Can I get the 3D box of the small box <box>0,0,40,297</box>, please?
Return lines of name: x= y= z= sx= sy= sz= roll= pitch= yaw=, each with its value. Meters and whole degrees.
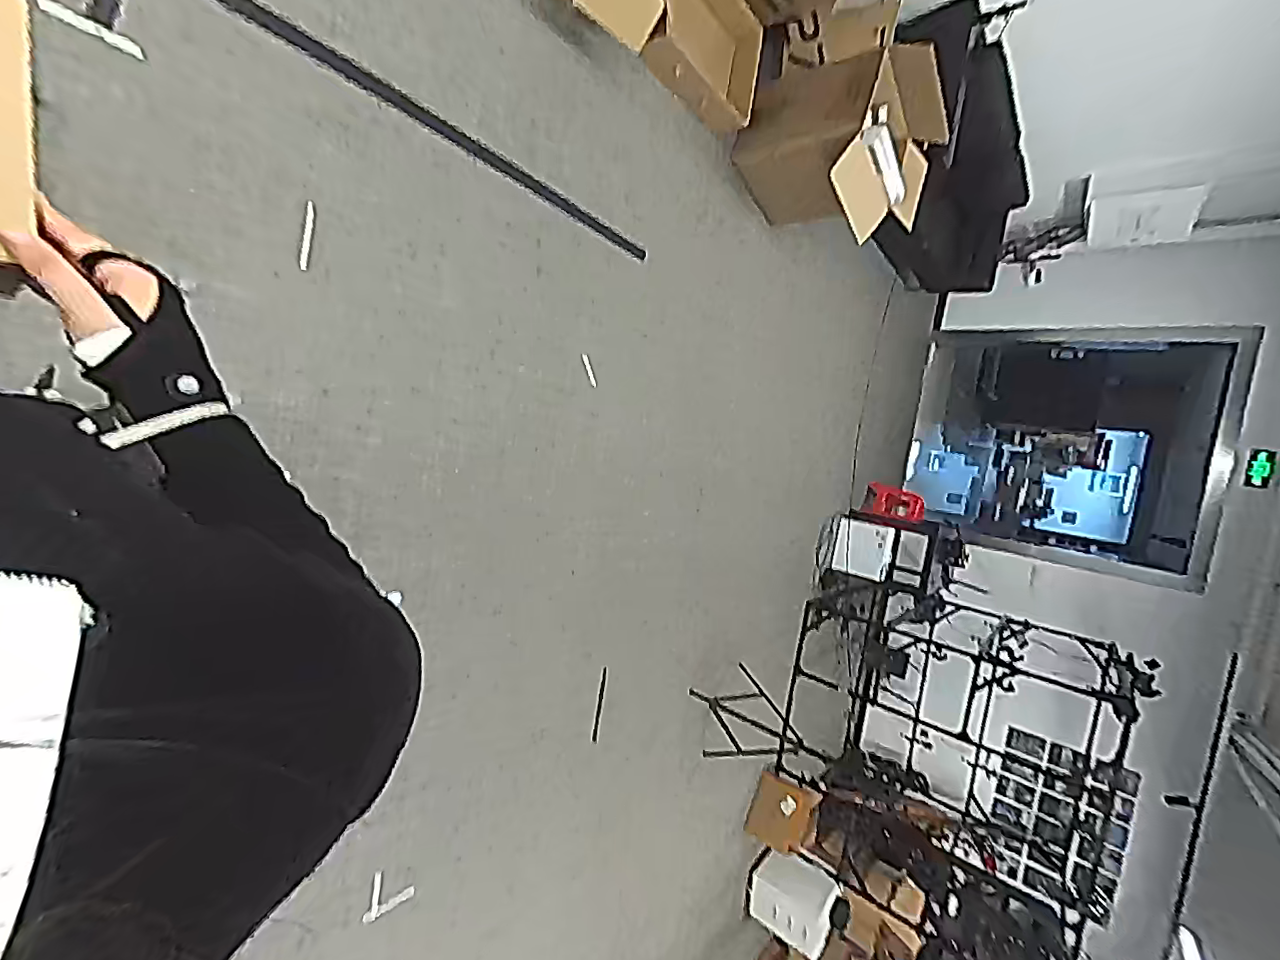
small box: x=-0.513 y=-0.232 z=0.342 sx=0.168 sy=0.176 sz=0.179 roll=-2 pitch=95 yaw=-53
